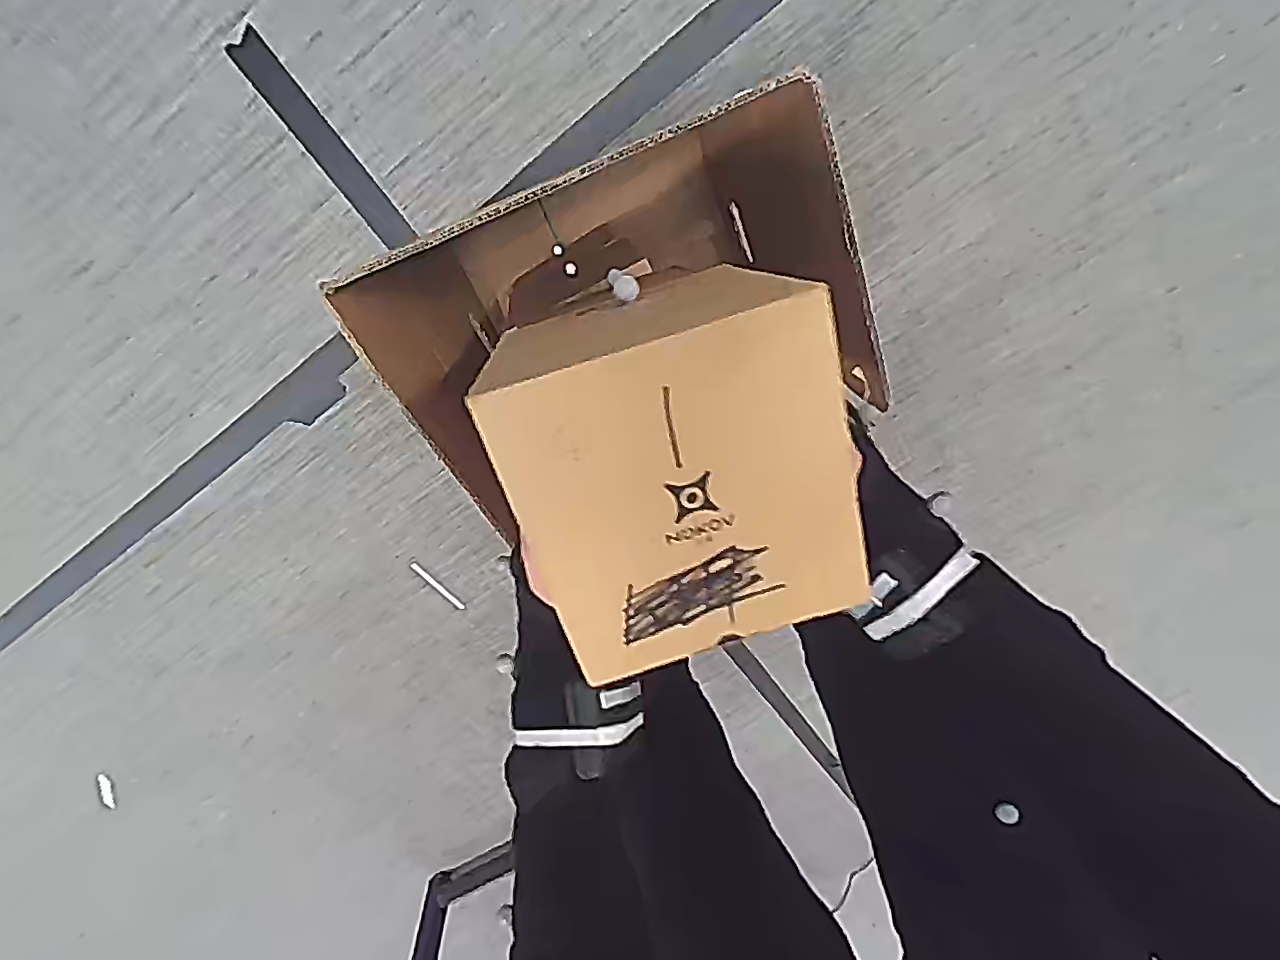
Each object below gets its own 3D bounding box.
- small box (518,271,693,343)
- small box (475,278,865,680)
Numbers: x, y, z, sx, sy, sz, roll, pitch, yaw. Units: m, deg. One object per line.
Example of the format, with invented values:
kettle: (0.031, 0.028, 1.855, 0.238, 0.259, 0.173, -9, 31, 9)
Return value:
small box: (-0.001, -0.078, 0.499, 0.168, 0.176, 0.179, -20, 116, -1)
small box: (0.018, -0.015, 0.343, 0.168, 0.176, 0.179, -17, 113, 0)
